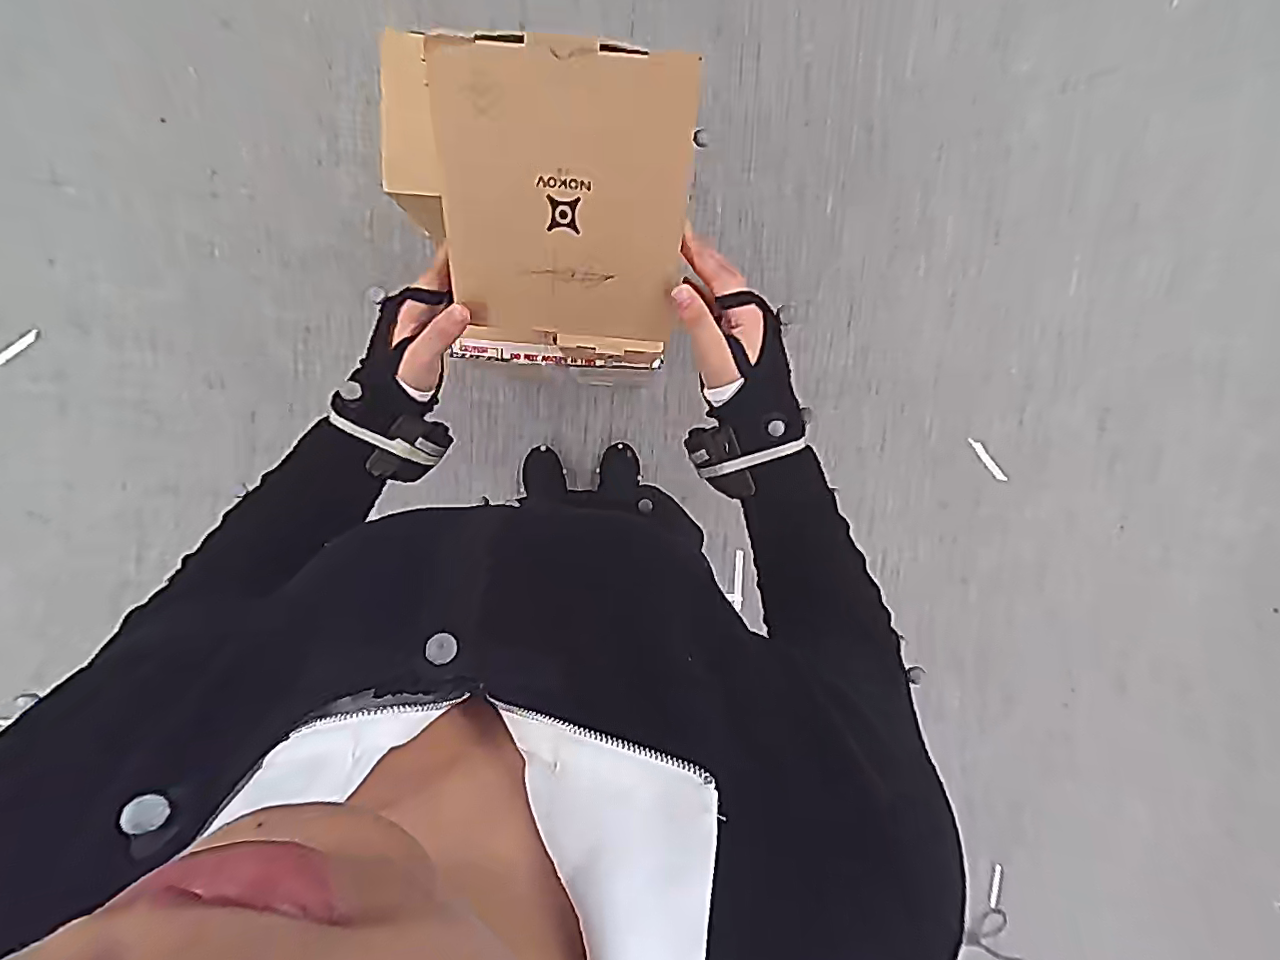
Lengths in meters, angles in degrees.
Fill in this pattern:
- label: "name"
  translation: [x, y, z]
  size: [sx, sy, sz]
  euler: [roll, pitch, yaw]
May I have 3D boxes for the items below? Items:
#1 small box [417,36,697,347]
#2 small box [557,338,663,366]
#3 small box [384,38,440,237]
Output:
- label: "small box"
  translation: [-0.051, -0.224, 0.424]
  size: [0.168, 0.176, 0.179]
  euler: [5, 126, 1]
- label: "small box"
  translation: [-0.044, -0.286, 0.895]
  size: [0.168, 0.176, 0.179]
  euler: [3, 97, -5]
- label: "small box"
  translation: [-0.215, -0.421, 0.706]
  size: [0.168, 0.176, 0.179]
  euler: [4, 98, -2]
